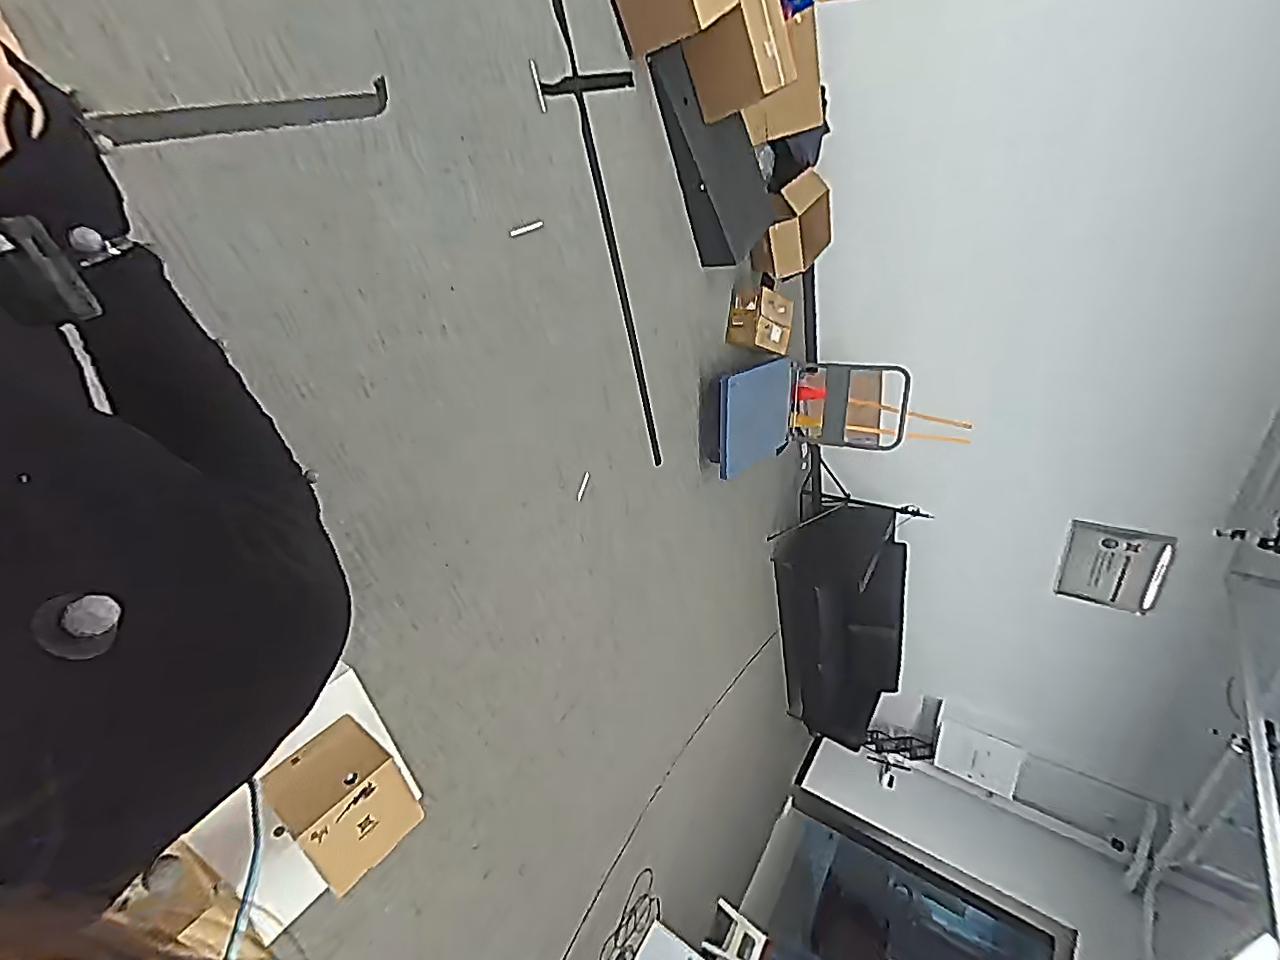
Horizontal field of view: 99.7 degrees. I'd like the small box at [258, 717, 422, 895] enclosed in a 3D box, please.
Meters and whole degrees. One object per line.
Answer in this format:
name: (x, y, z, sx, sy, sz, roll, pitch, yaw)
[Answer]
small box: (-0.520, 0.557, 0.946, 0.168, 0.176, 0.179, -37, 130, -43)
